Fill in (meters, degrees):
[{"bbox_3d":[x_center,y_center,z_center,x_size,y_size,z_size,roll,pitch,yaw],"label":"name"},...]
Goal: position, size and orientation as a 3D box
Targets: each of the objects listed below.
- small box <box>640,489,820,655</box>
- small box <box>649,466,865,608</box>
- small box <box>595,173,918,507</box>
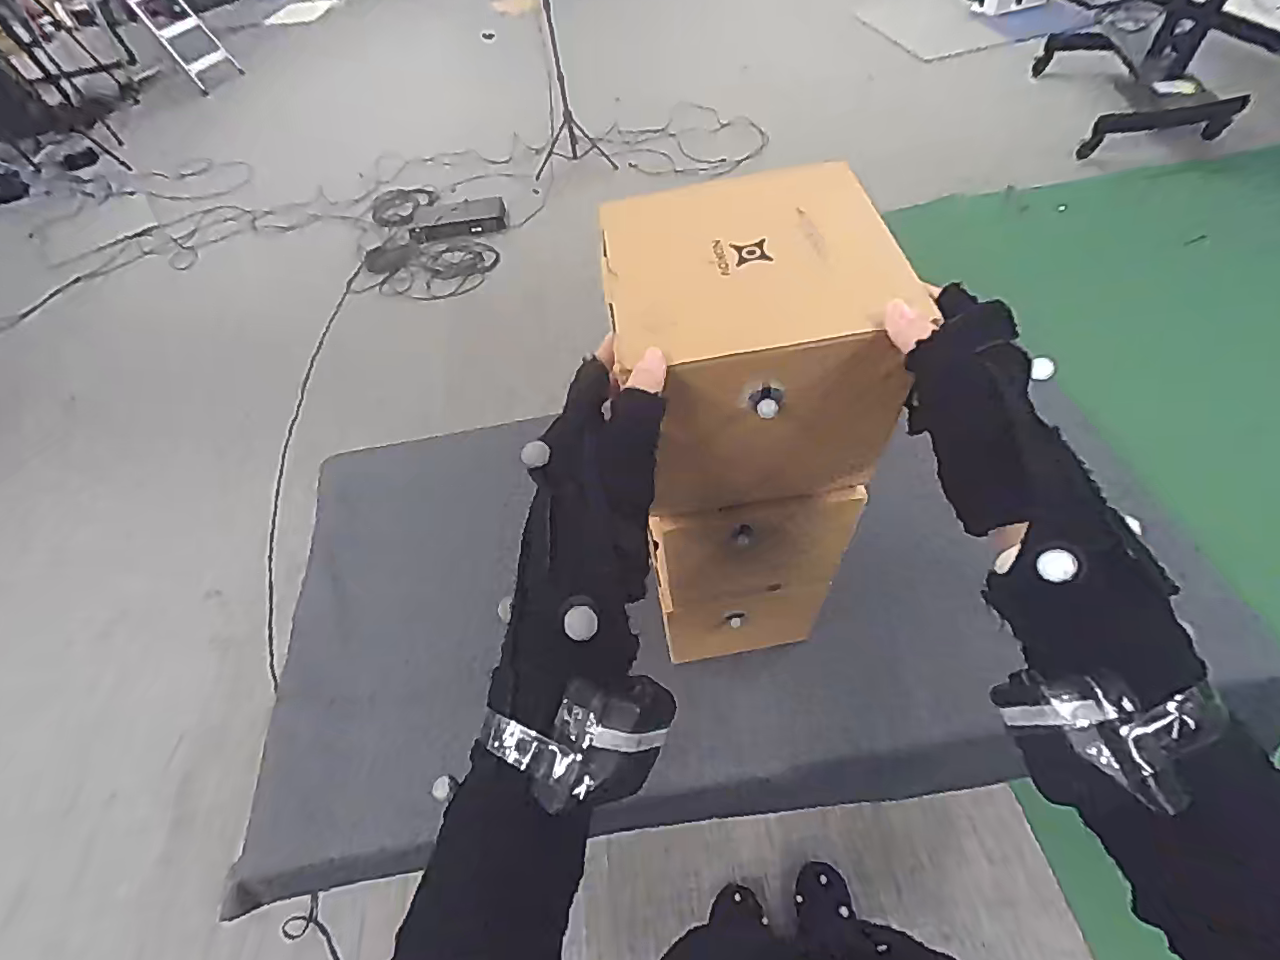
[{"bbox_3d":[0.104,0.103,0.674,0.179,0.176,0.168,-10,54,-1],"label":"small box"},{"bbox_3d":[0.094,0.006,0.546,0.168,0.176,0.179,-11,55,-3],"label":"small box"},{"bbox_3d":[0.070,-0.094,0.409,0.179,0.176,0.168,-9,57,1],"label":"small box"}]
